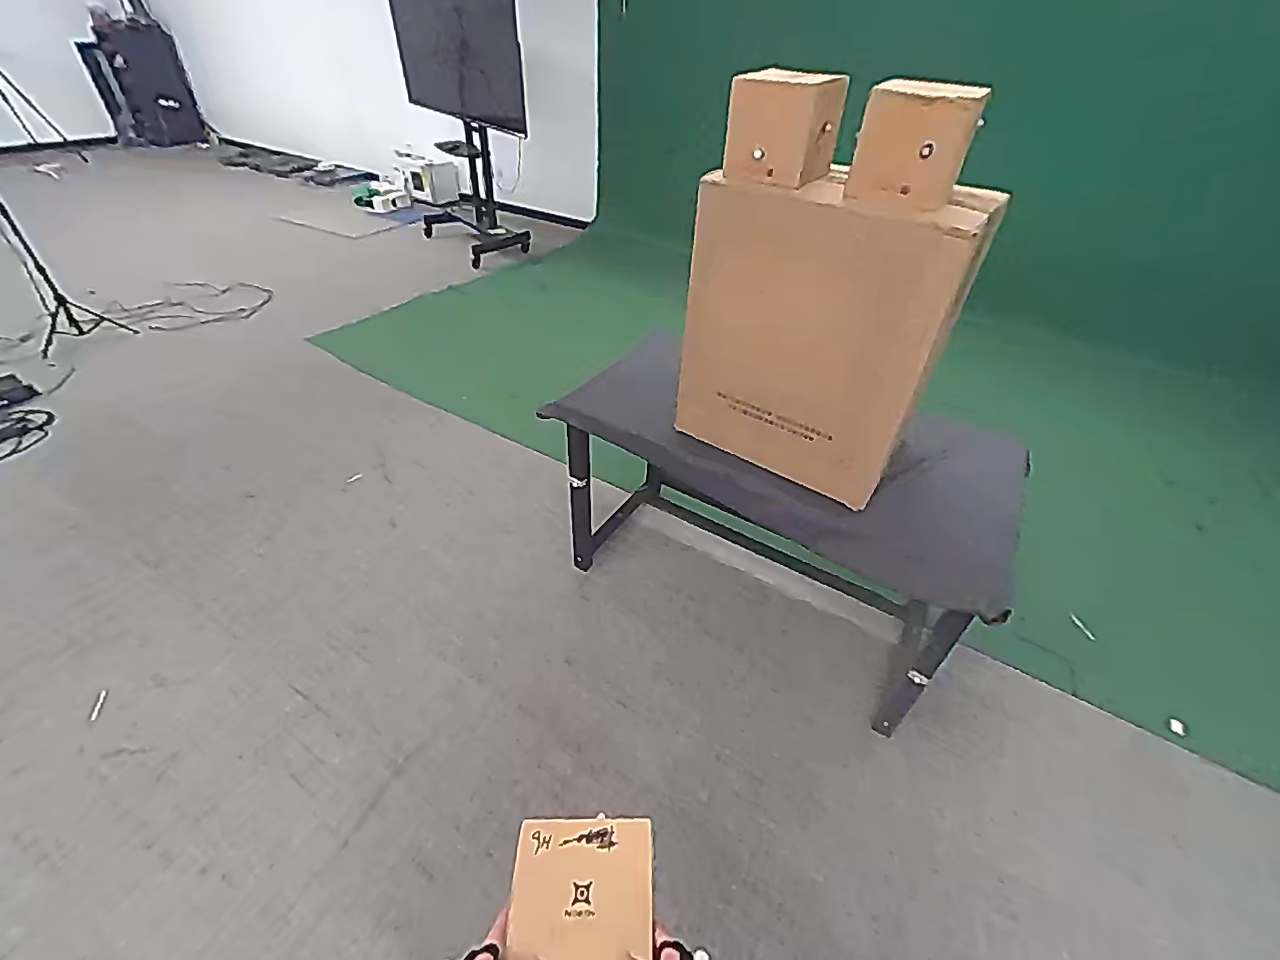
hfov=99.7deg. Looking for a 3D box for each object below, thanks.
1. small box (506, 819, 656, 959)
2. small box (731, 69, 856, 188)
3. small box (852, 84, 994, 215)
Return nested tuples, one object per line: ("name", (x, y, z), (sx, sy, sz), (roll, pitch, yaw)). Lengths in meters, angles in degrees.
("small box", (-0.066, 0.557, 0.679), (0.168, 0.176, 0.179), (-3, 40, -2))
("small box", (0.294, -0.694, 1.063), (0.168, 0.176, 0.179), (28, 47, 27))
("small box", (0.504, -0.598, 0.978), (0.168, 0.176, 0.179), (26, 46, 19))
